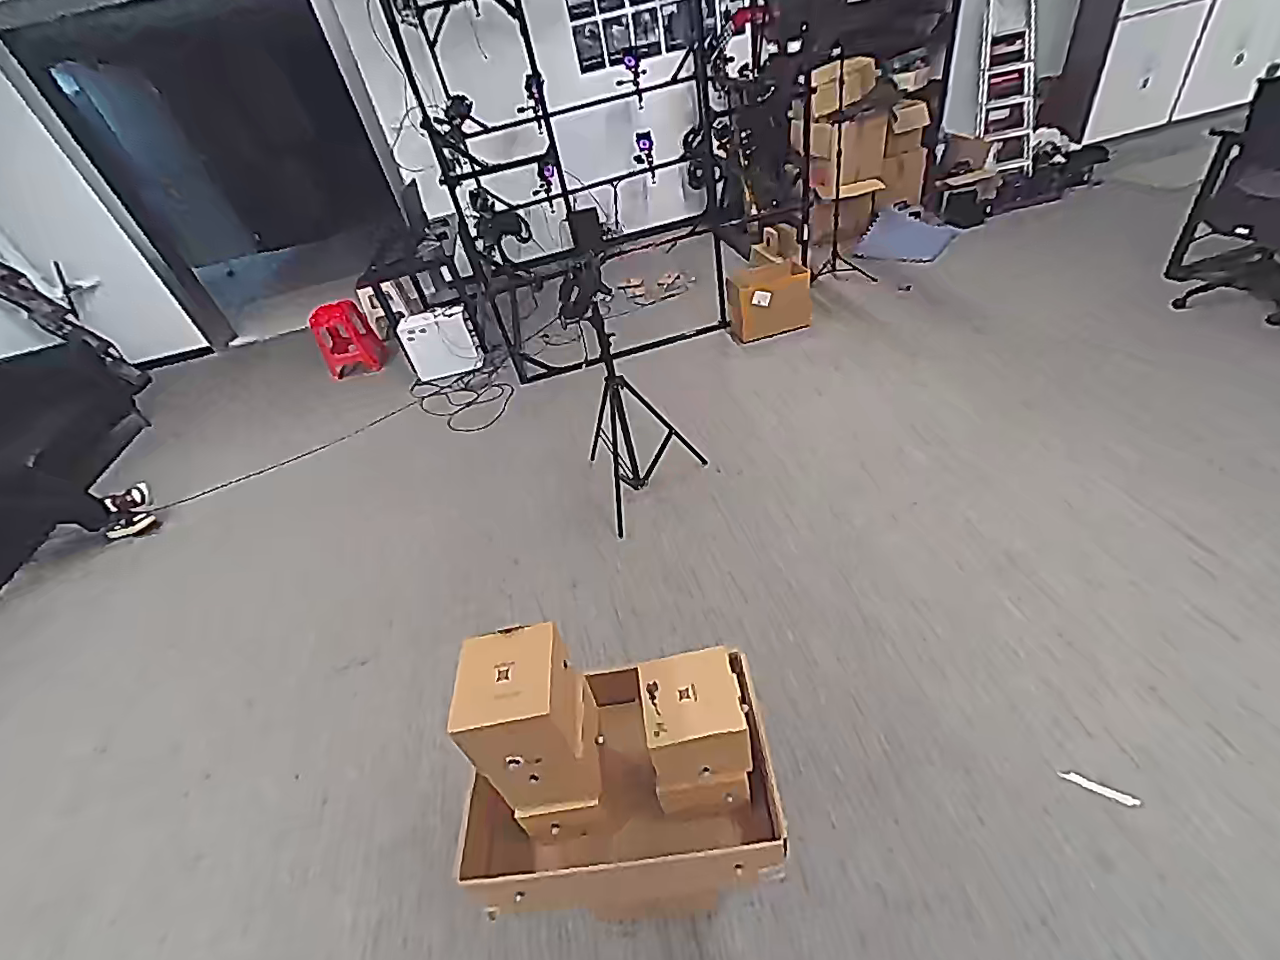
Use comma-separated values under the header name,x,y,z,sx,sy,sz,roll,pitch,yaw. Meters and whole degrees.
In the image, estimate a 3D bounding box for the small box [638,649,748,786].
name,x,y,z,sx,sy,sz,roll,pitch,yaw
small box,0.101,0.448,1.016,0.179,0.176,0.168,-12,39,2

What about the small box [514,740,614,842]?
name,x,y,z,sx,sy,sz,roll,pitch,yaw
small box,-0.152,0.632,1.131,0.168,0.176,0.179,-10,38,2

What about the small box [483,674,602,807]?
name,x,y,z,sx,sy,sz,roll,pitch,yaw
small box,-0.177,0.501,1.035,0.179,0.176,0.168,-9,39,3

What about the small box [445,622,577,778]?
name,x,y,z,sx,sy,sz,roll,pitch,yaw
small box,-0.210,0.378,0.932,0.168,0.176,0.179,-12,38,2
